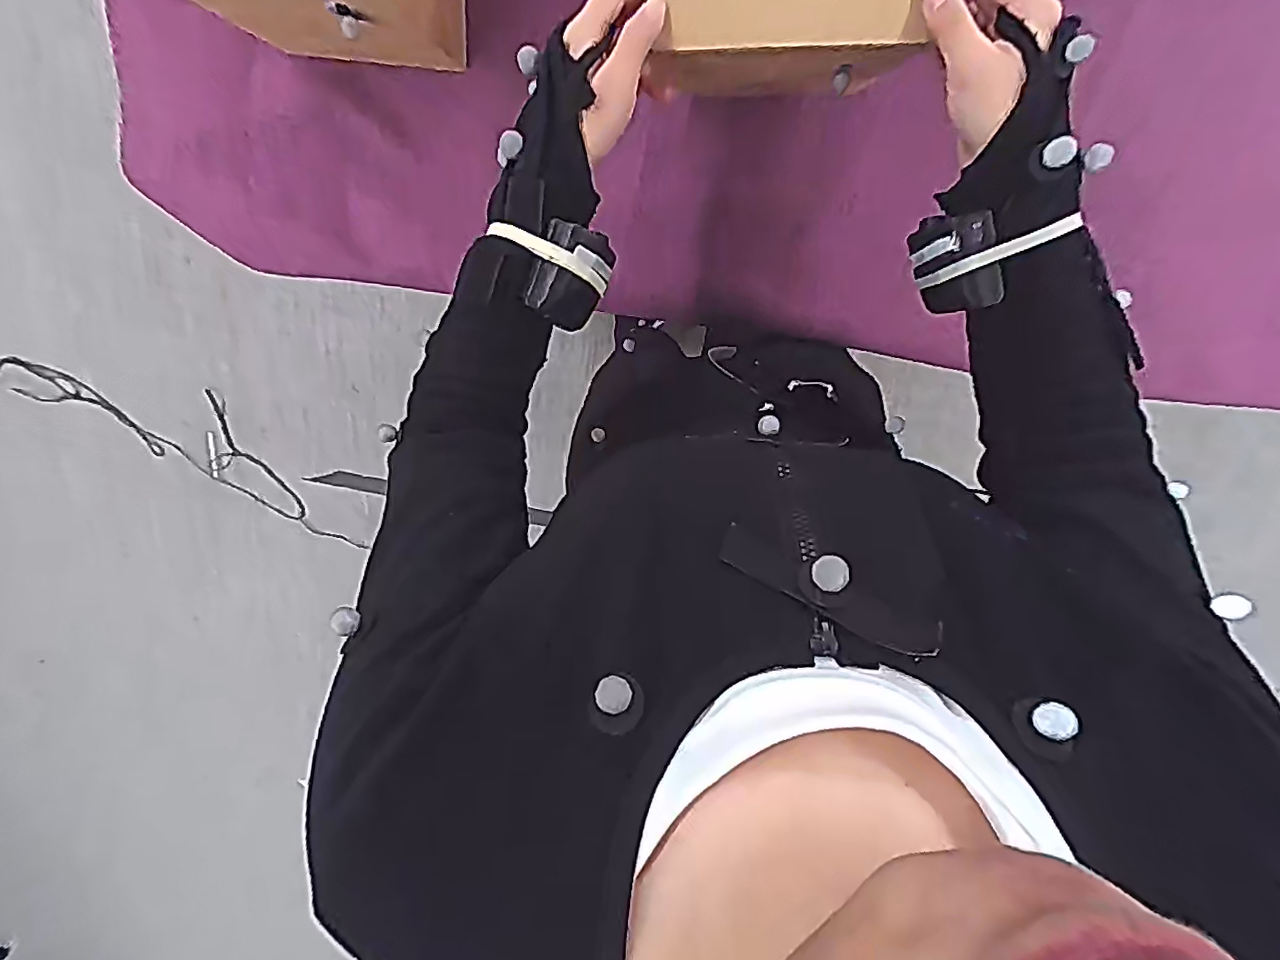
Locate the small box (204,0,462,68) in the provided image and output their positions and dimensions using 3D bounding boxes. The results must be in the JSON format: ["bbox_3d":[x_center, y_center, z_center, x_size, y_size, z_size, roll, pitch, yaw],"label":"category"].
[{"bbox_3d":[-0.244,-0.446,0.414,0.179,0.176,0.168,7,111,0],"label":"small box"}]
